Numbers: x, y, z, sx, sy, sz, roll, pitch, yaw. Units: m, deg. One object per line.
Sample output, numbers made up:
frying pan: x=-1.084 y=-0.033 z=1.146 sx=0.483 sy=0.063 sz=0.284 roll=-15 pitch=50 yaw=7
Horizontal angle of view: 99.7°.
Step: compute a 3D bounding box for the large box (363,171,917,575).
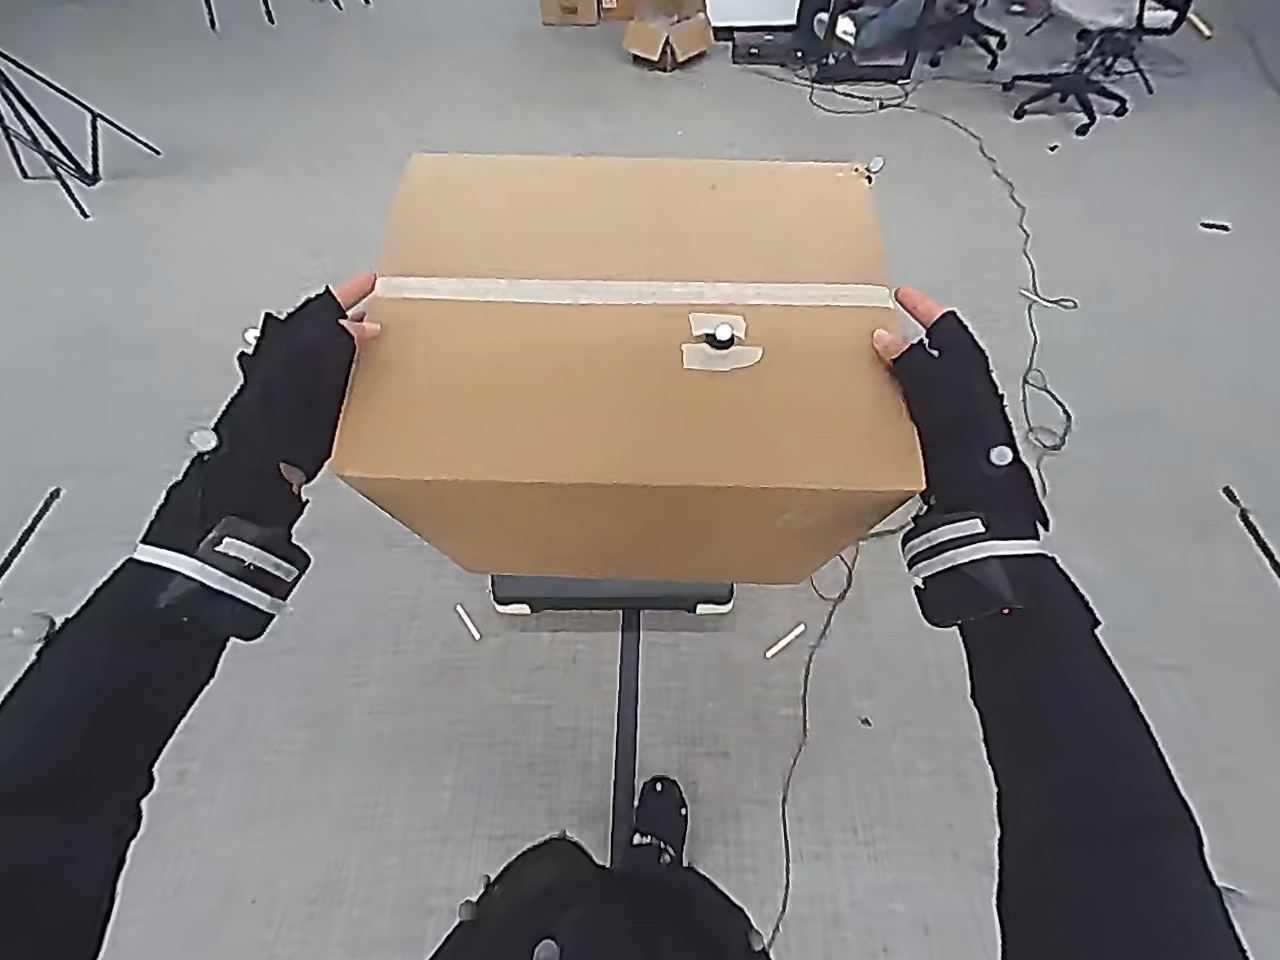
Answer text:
large box: x=-0.001 y=-0.084 z=0.576 sx=0.408 sy=0.320 sz=0.320 roll=2 pitch=68 yaw=0
